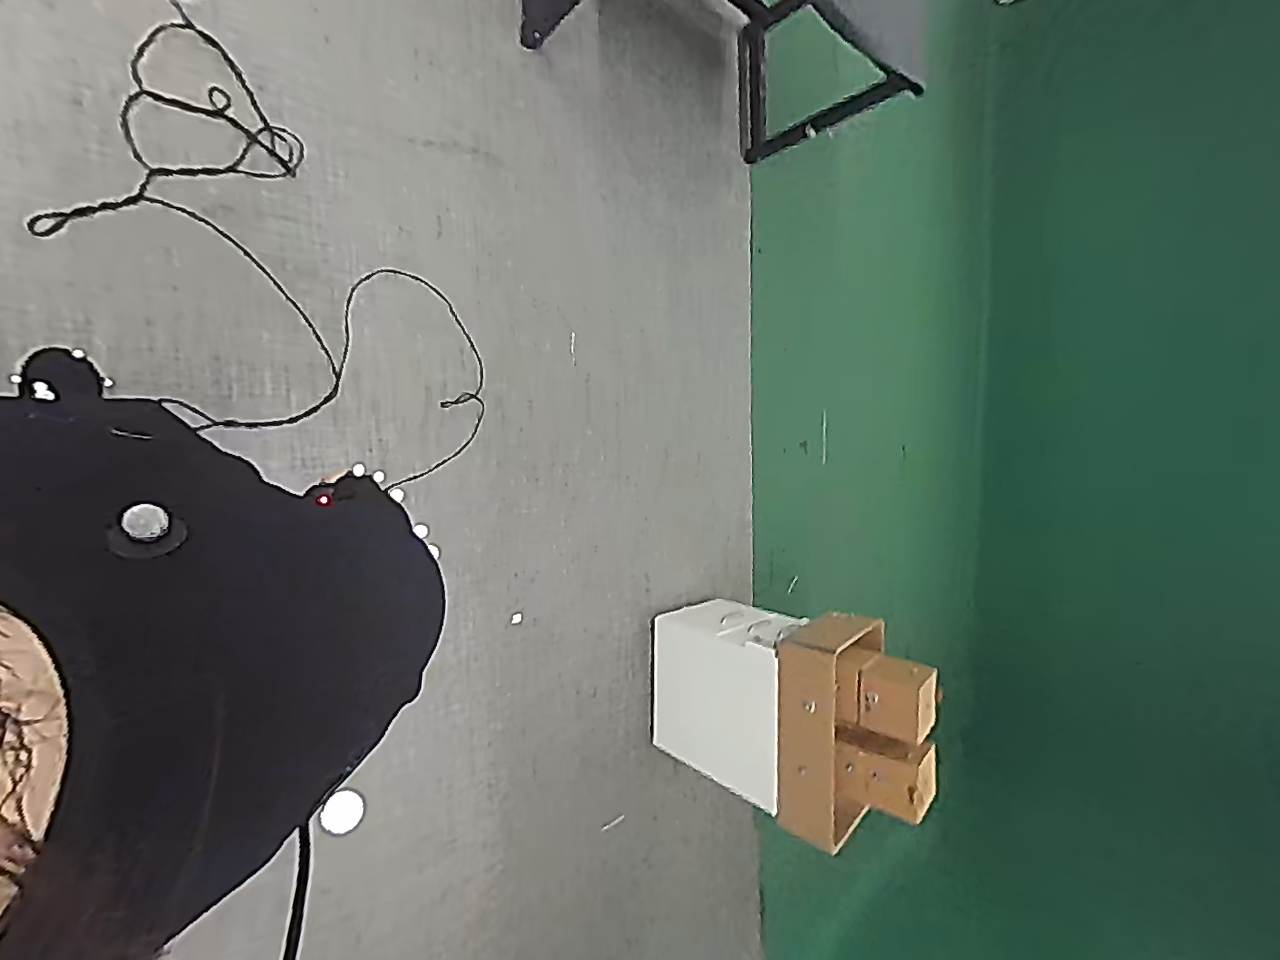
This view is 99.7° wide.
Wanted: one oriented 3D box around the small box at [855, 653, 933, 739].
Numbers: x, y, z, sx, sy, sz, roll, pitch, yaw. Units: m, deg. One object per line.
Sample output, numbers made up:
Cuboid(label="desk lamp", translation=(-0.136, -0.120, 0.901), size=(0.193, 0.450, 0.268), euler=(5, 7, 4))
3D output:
Cuboid(label="small box", translation=(0.761, 0.636, 1.620), size=(0.179, 0.176, 0.168), euler=(-6, 96, -47))

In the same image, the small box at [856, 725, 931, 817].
Cuboid(label="small box", translation=(0.770, 0.869, 1.643), size=(0.179, 0.176, 0.168), euler=(-7, 95, -47))

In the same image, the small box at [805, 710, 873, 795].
Cuboid(label="small box", translation=(0.648, 0.871, 1.751), size=(0.179, 0.176, 0.168), euler=(-5, 92, -48))
